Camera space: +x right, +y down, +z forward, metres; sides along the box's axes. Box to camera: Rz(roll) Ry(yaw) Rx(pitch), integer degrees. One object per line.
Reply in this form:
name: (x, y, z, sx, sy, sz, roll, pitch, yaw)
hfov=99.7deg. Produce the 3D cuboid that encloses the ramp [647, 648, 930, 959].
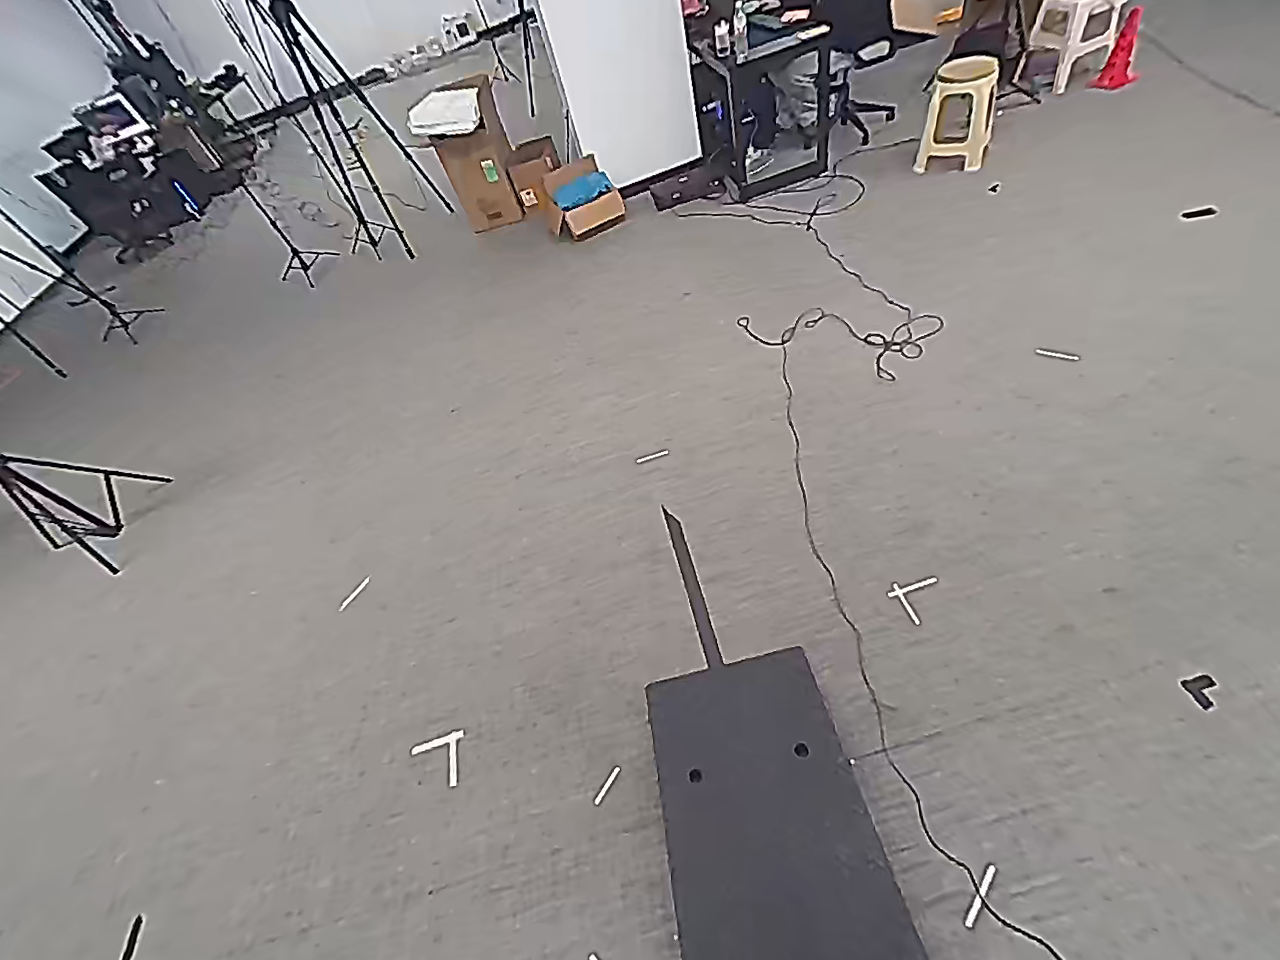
ramp: (0.308, 0.874, 1.247, 0.509, 0.206, 0.991, -18, 48, 4)
